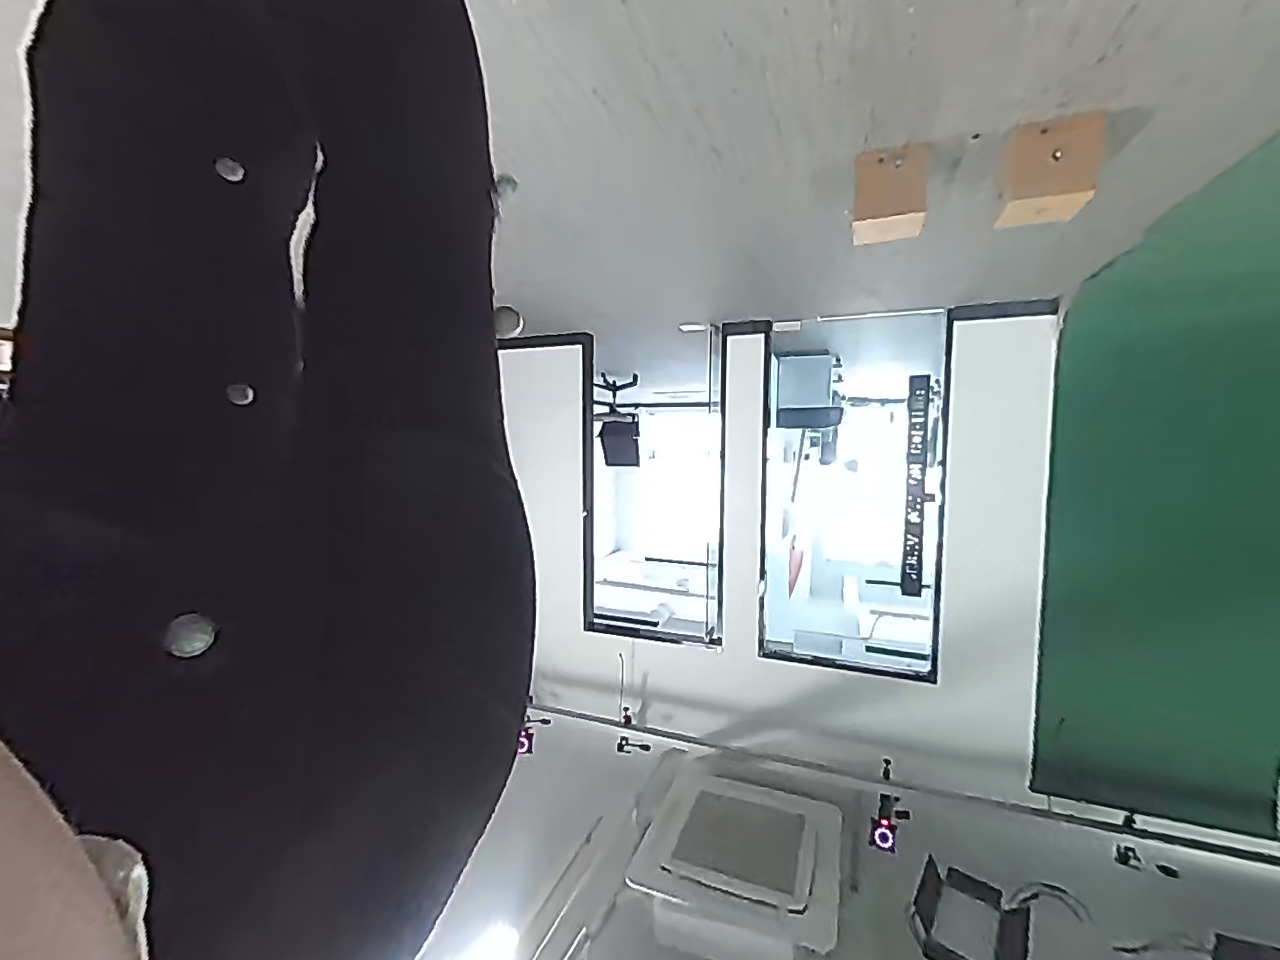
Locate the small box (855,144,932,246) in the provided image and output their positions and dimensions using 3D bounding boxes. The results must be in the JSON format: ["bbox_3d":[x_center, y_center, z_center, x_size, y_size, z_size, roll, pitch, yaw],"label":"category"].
[{"bbox_3d":[0.642,-0.720,1.379,0.168,0.176,0.179,1,-176,22],"label":"small box"}]

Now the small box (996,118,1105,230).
[{"bbox_3d":[0.945,-0.708,1.254,0.168,0.176,0.179,3,-175,22],"label":"small box"}]
